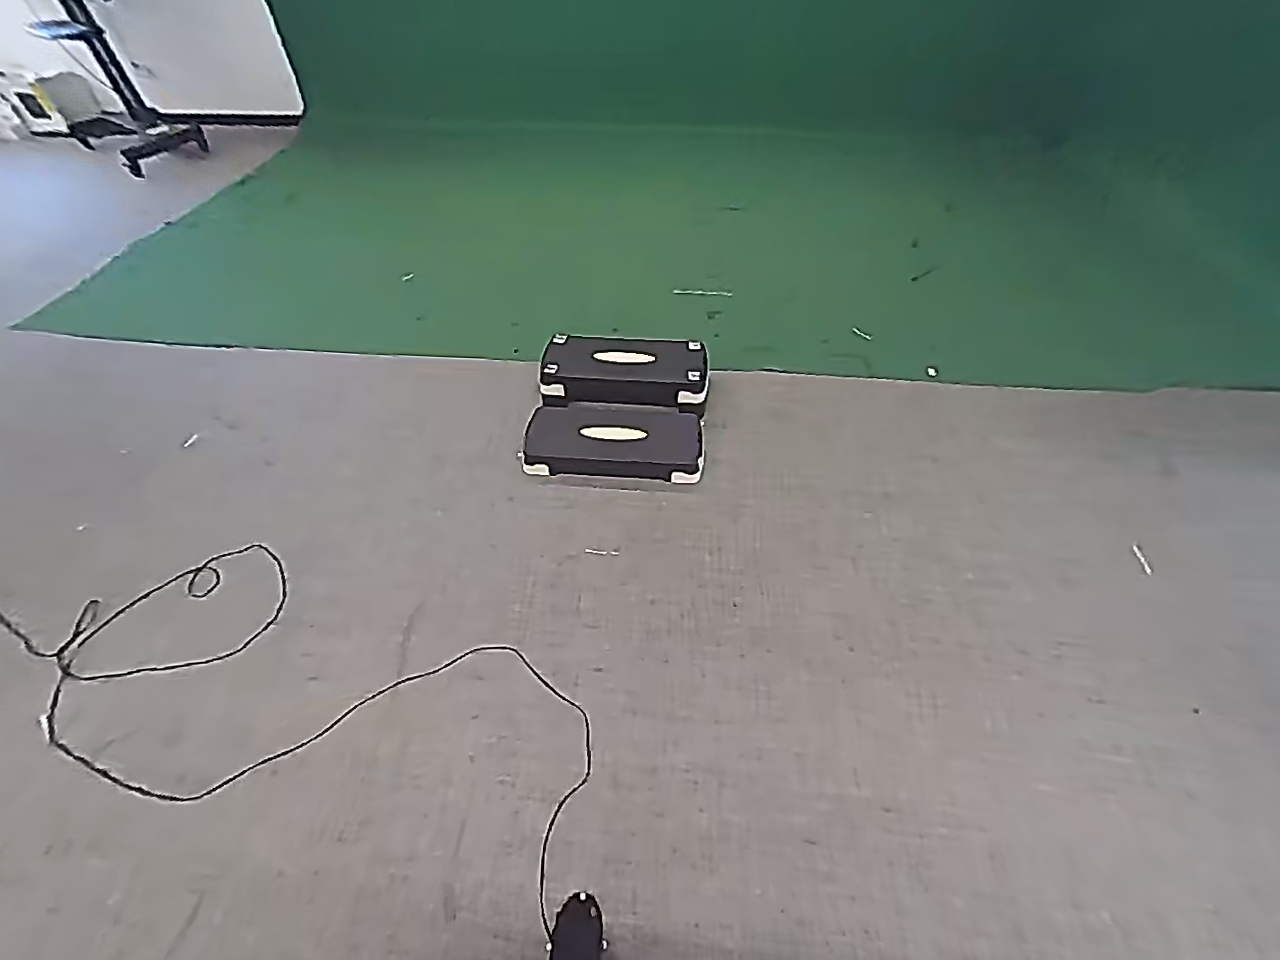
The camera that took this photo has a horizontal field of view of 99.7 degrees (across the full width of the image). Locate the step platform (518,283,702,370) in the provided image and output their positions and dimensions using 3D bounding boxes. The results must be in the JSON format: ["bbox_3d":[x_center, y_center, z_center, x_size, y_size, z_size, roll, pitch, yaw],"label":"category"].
[{"bbox_3d":[-0.107,-0.594,2.091,0.684,0.204,0.286,3,50,4],"label":"step platform"}]
